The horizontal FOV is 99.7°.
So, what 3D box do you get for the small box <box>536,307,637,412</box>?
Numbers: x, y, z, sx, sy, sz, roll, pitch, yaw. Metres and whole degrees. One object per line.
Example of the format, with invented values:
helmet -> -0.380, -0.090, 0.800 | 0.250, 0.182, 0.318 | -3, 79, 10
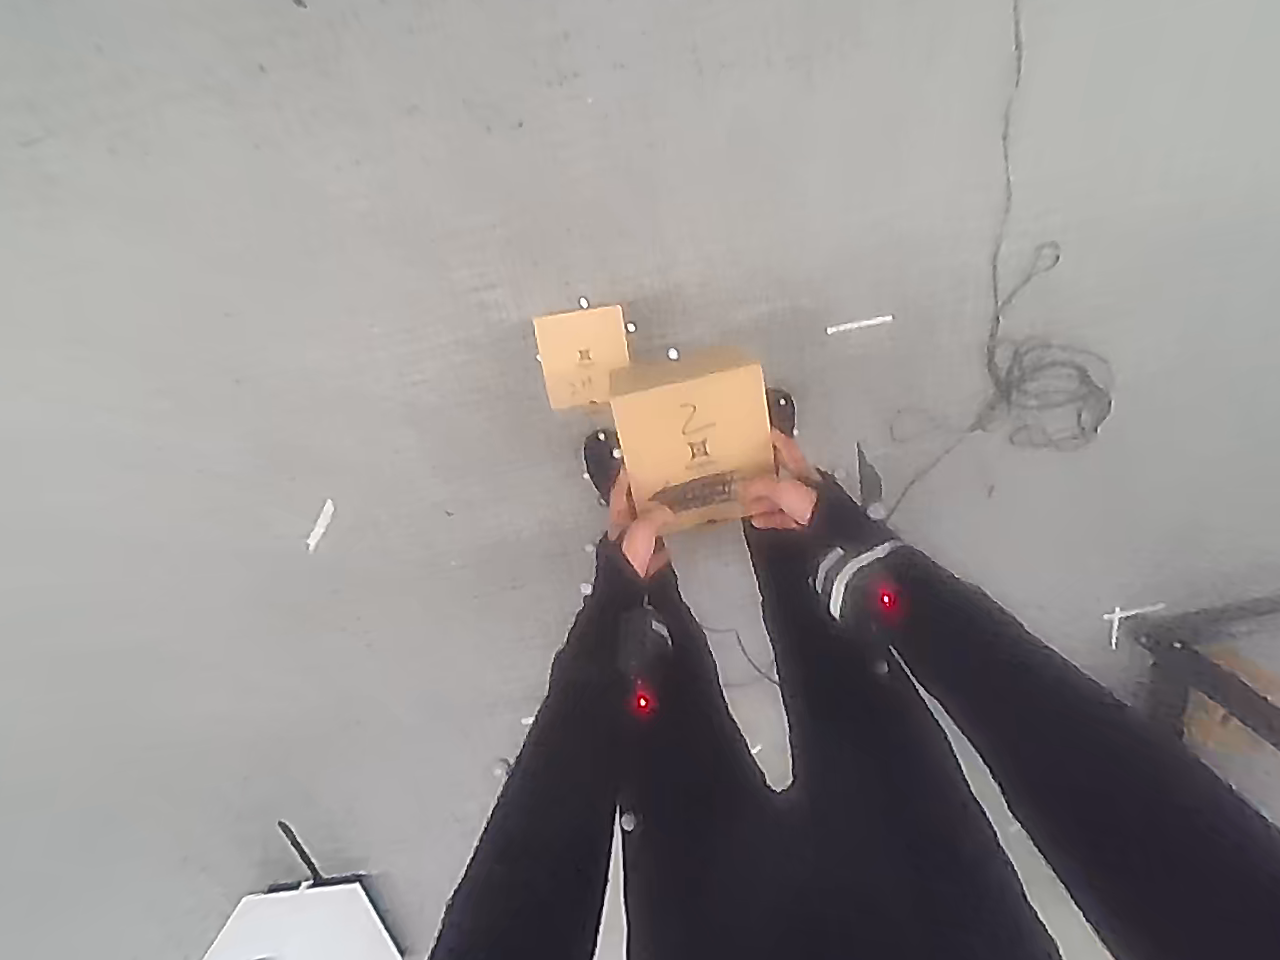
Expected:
small box -> -0.099, -0.247, 1.082 | 0.168, 0.176, 0.179 | -7, 110, 4
